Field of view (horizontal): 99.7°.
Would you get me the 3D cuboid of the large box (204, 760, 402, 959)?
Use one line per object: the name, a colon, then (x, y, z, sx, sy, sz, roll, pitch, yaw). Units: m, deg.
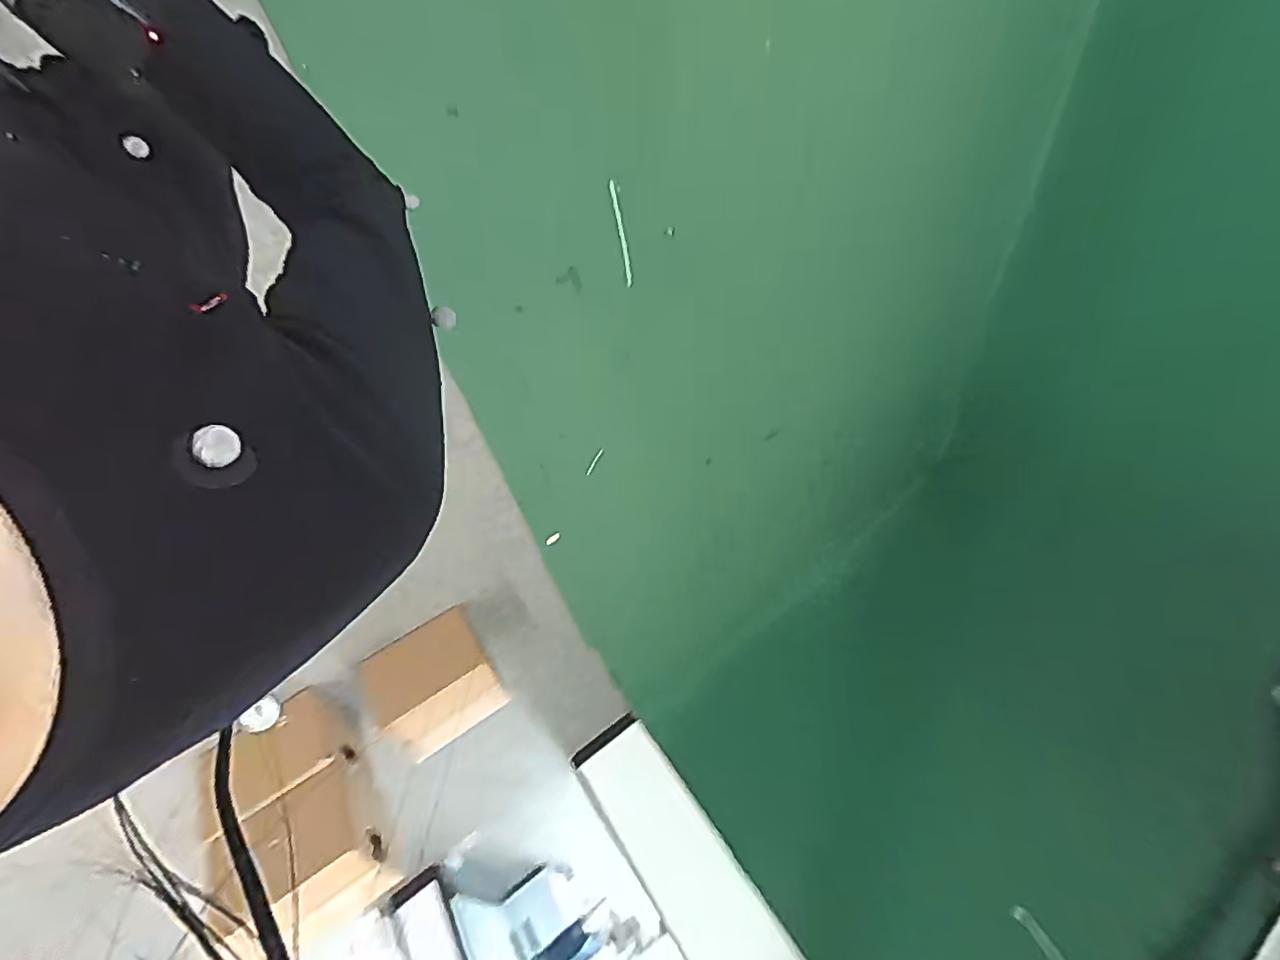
large box: (-1.027, 1.170, 1.665, 0.408, 0.320, 0.320, -32, 133, -18)
